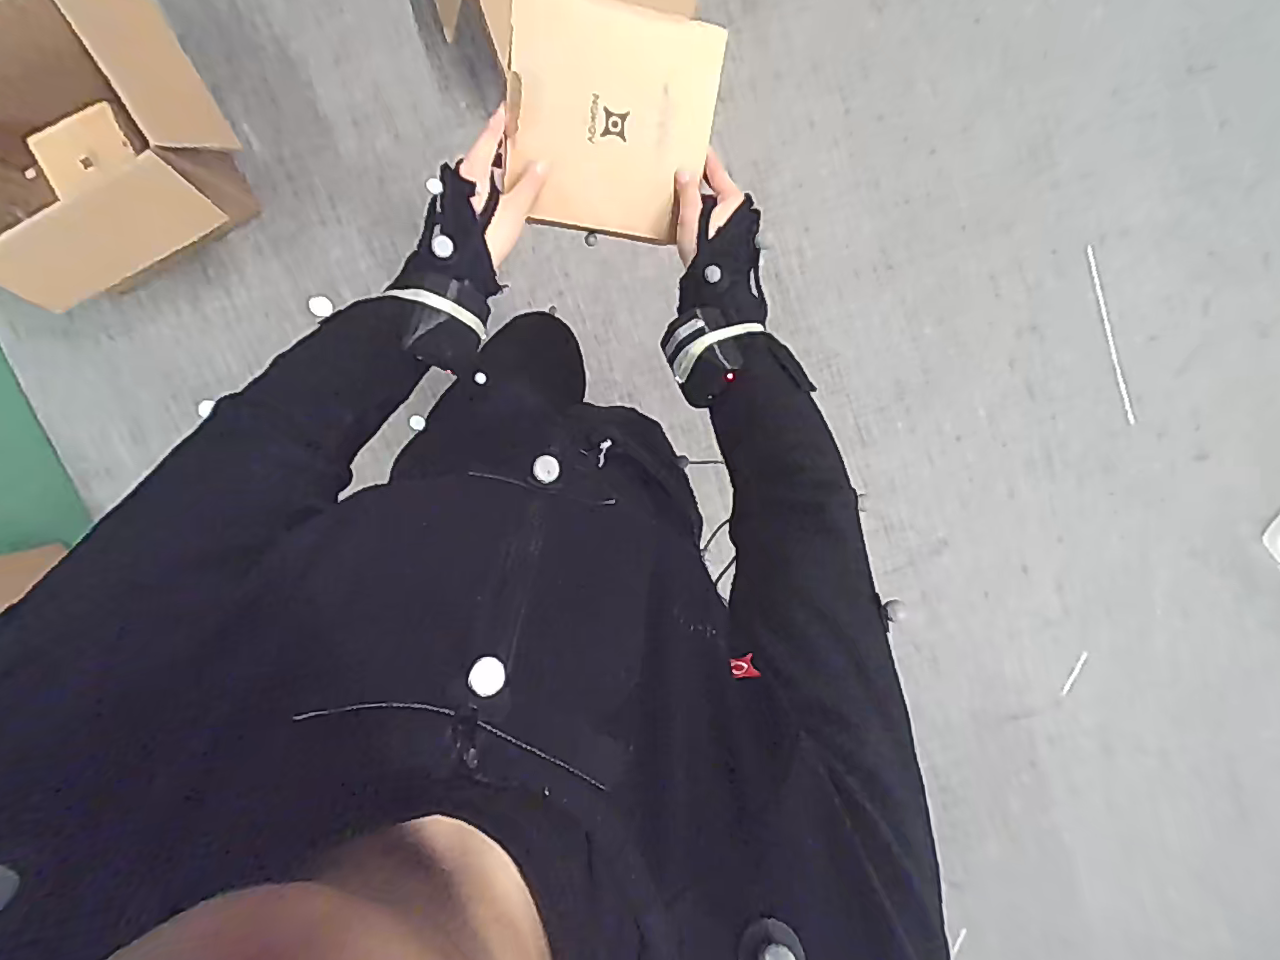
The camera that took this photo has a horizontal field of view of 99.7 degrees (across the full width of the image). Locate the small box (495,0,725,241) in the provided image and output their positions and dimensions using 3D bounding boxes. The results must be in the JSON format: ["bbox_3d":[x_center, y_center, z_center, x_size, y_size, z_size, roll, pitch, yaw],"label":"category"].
[{"bbox_3d":[-0.039,-0.331,0.523,0.179,0.176,0.168,5,113,-11],"label":"small box"}]
